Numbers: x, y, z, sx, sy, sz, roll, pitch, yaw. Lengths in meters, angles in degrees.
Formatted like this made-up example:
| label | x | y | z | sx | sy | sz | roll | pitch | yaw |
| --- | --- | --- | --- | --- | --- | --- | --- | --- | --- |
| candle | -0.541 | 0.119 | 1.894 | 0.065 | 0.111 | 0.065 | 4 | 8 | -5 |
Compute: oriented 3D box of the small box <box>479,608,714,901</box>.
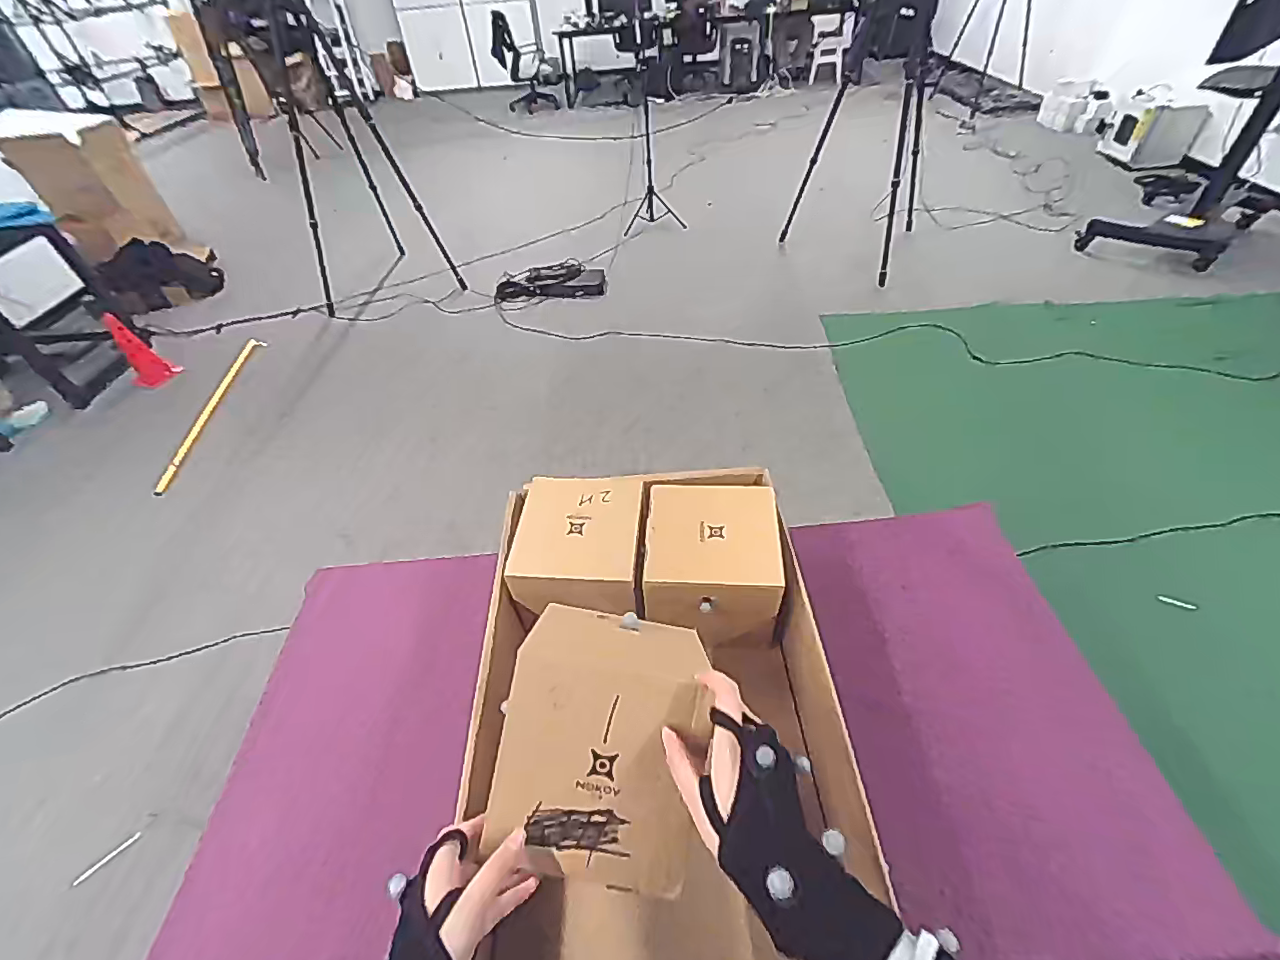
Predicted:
| label | x | y | z | sx | sy | sz | roll | pitch | yaw |
| --- | --- | --- | --- | --- | --- | --- | --- | --- | --- |
| small box | -0.034 | 0.239 | 0.514 | 0.168 | 0.176 | 0.179 | 11 | 90 | 0 |
